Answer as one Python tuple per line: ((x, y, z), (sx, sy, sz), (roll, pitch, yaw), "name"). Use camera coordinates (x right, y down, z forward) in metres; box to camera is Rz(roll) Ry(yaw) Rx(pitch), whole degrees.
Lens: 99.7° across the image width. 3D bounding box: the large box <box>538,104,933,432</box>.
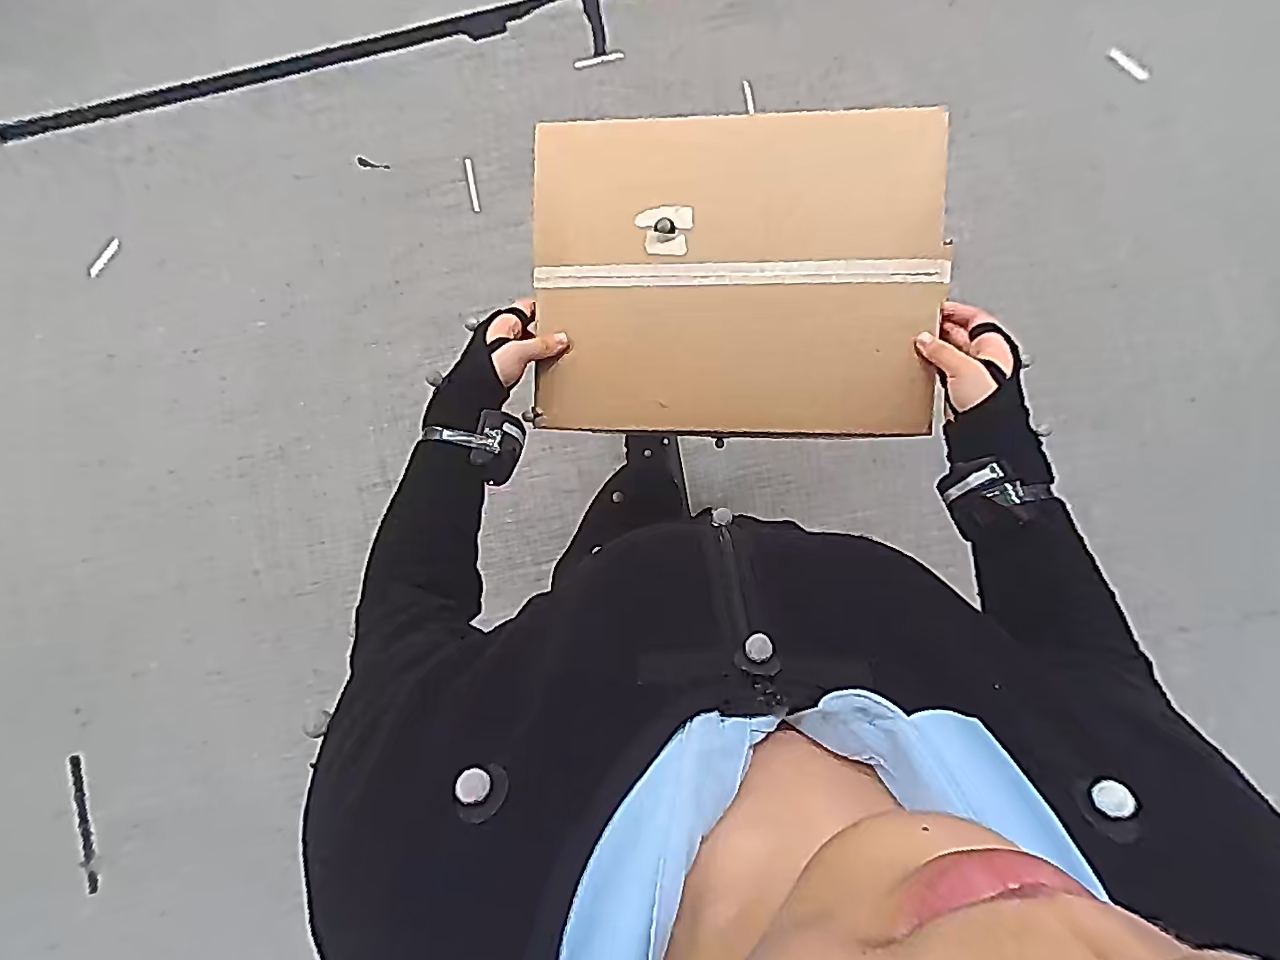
((0.109, -0.221, 0.703), (0.408, 0.320, 0.320), (1, 92, 7), "large box")
